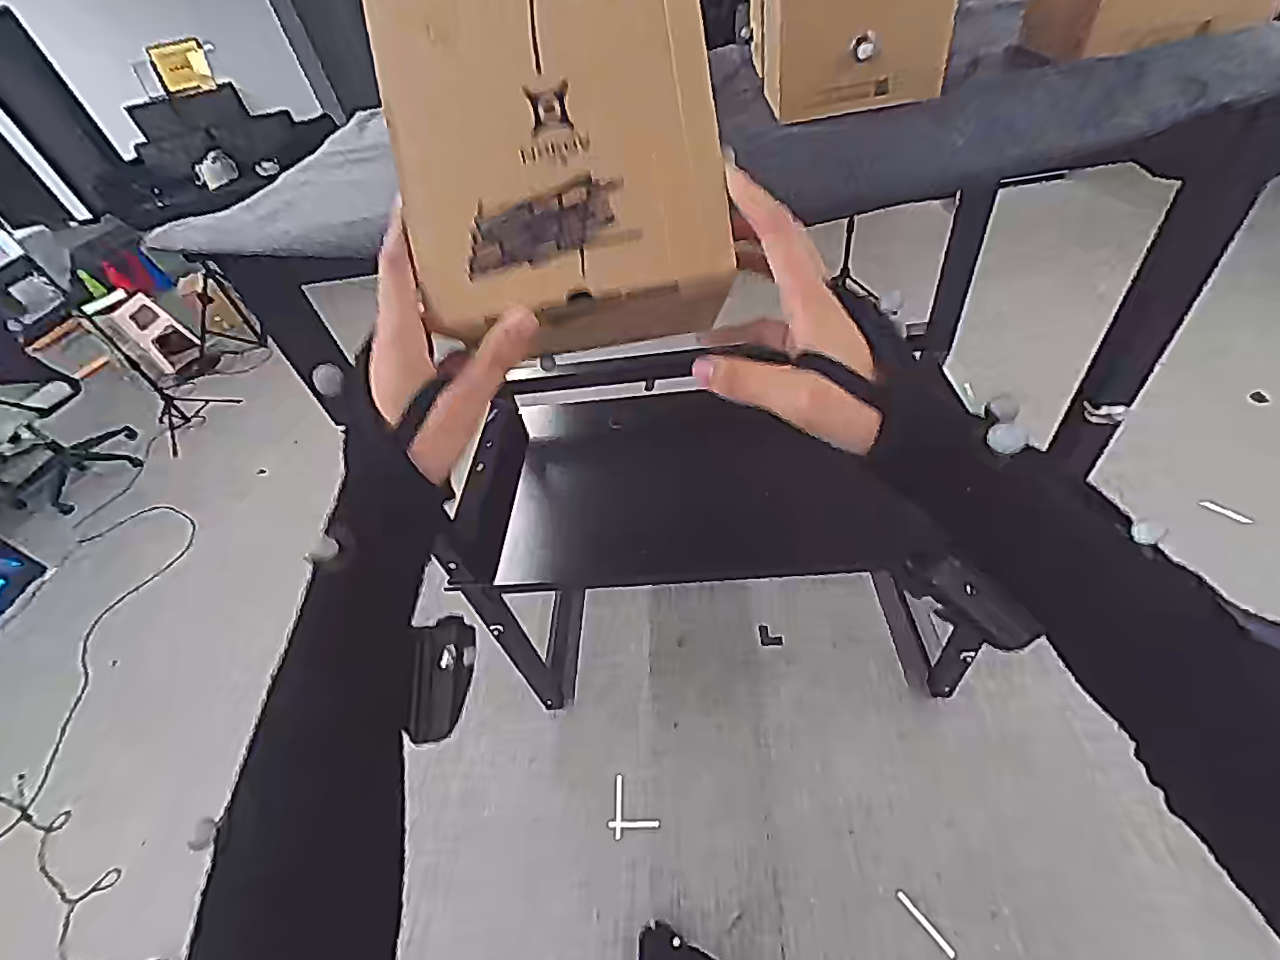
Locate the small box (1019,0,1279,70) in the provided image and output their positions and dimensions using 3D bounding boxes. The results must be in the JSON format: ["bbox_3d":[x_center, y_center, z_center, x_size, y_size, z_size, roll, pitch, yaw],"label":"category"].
[{"bbox_3d":[0.527,-0.541,0.550,0.168,0.176,0.179,-3,45,11],"label":"small box"}]

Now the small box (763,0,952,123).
[{"bbox_3d":[0.222,-0.507,0.584,0.168,0.176,0.179,-4,44,10],"label":"small box"}]

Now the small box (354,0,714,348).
[{"bbox_3d":[-0.047,-0.188,0.351,0.168,0.179,0.176,-9,4,4],"label":"small box"}]

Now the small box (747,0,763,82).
[{"bbox_3d":[0.244,-0.686,0.757,0.179,0.176,0.168,-4,45,9],"label":"small box"}]
